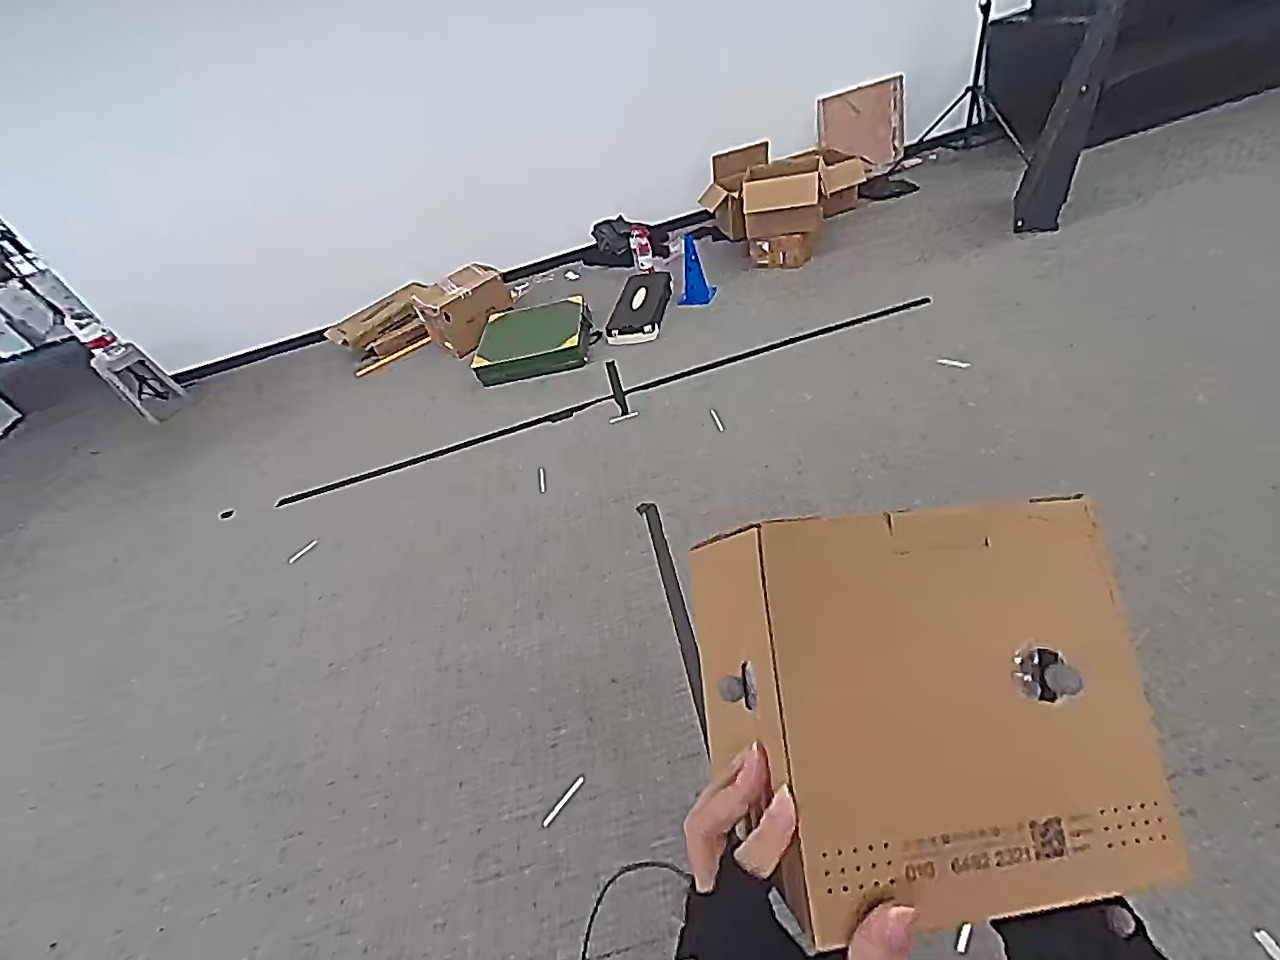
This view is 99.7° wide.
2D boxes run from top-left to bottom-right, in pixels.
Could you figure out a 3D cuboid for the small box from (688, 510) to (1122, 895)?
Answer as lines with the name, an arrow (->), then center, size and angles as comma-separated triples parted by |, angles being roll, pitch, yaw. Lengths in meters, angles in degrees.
small box -> 0.132, 0.119, 0.331 | 0.168, 0.179, 0.176 | -4, 79, -5
